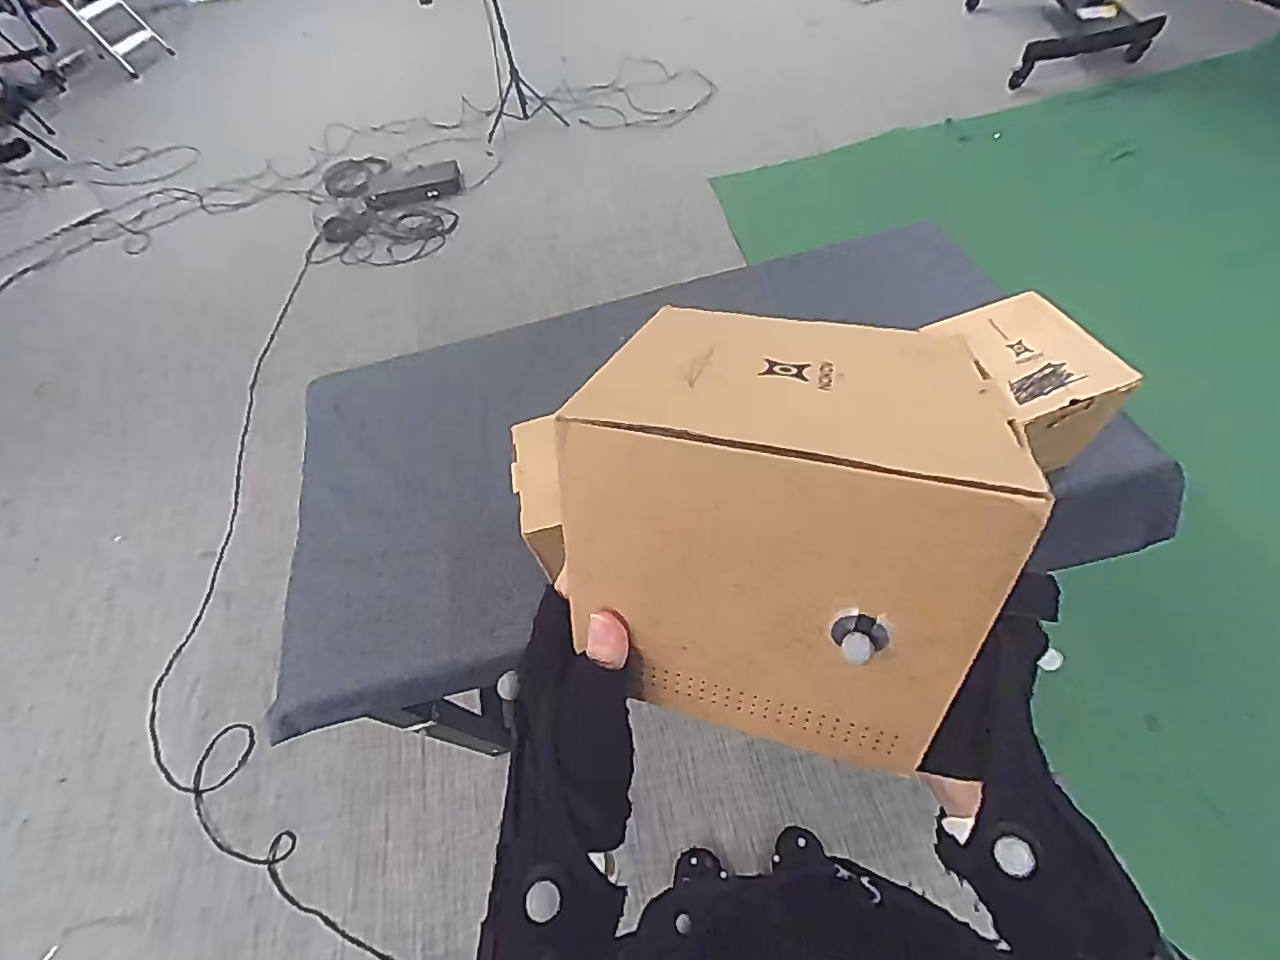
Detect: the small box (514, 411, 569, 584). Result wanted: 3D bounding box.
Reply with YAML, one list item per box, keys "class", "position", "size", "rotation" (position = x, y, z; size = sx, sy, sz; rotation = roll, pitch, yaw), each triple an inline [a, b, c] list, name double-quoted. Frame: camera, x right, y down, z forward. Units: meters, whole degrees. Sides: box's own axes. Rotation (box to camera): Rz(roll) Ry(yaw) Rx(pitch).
- class: "small box"
  position: [-0.052, 0.018, 0.710]
  size: [0.179, 0.176, 0.168]
  rotation: [-13, 55, -1]

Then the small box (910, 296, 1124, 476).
- class: "small box"
  position: [0.459, -0.105, 0.719]
  size: [0.168, 0.176, 0.179]
  rotation: [-18, 56, -4]

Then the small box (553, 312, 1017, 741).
- class: "small box"
  position: [0.068, 0.017, 0.310]
  size: [0.179, 0.176, 0.168]
  rotation: [9, 34, 14]
